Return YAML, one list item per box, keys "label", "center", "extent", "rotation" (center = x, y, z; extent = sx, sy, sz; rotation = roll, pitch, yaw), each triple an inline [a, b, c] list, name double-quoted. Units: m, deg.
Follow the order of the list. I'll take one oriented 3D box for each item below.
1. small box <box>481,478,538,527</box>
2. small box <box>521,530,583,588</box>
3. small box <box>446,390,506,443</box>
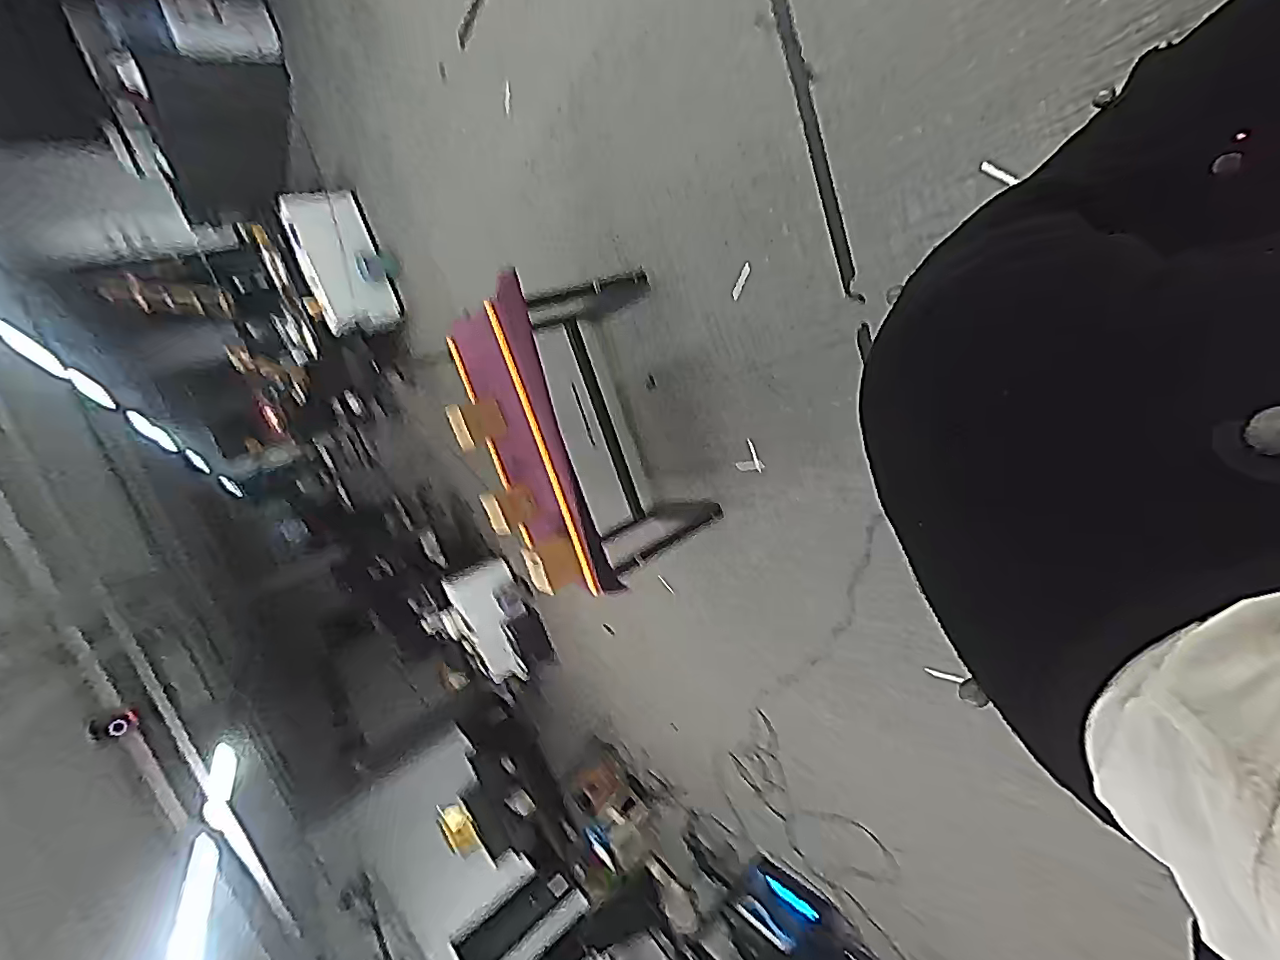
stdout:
- label: "small box"
  center: [-0.583, 0.099, 2.420]
  extent: [0.179, 0.176, 0.168]
  rotation: [-6, 107, 55]
- label: "small box"
  center: [-0.366, 0.324, 2.264]
  extent: [0.168, 0.176, 0.179]
  rotation: [4, 115, 53]
- label: "small box"
  center: [-0.703, -0.274, 2.329]
  extent: [0.168, 0.176, 0.179]
  rotation: [-3, 110, 54]
